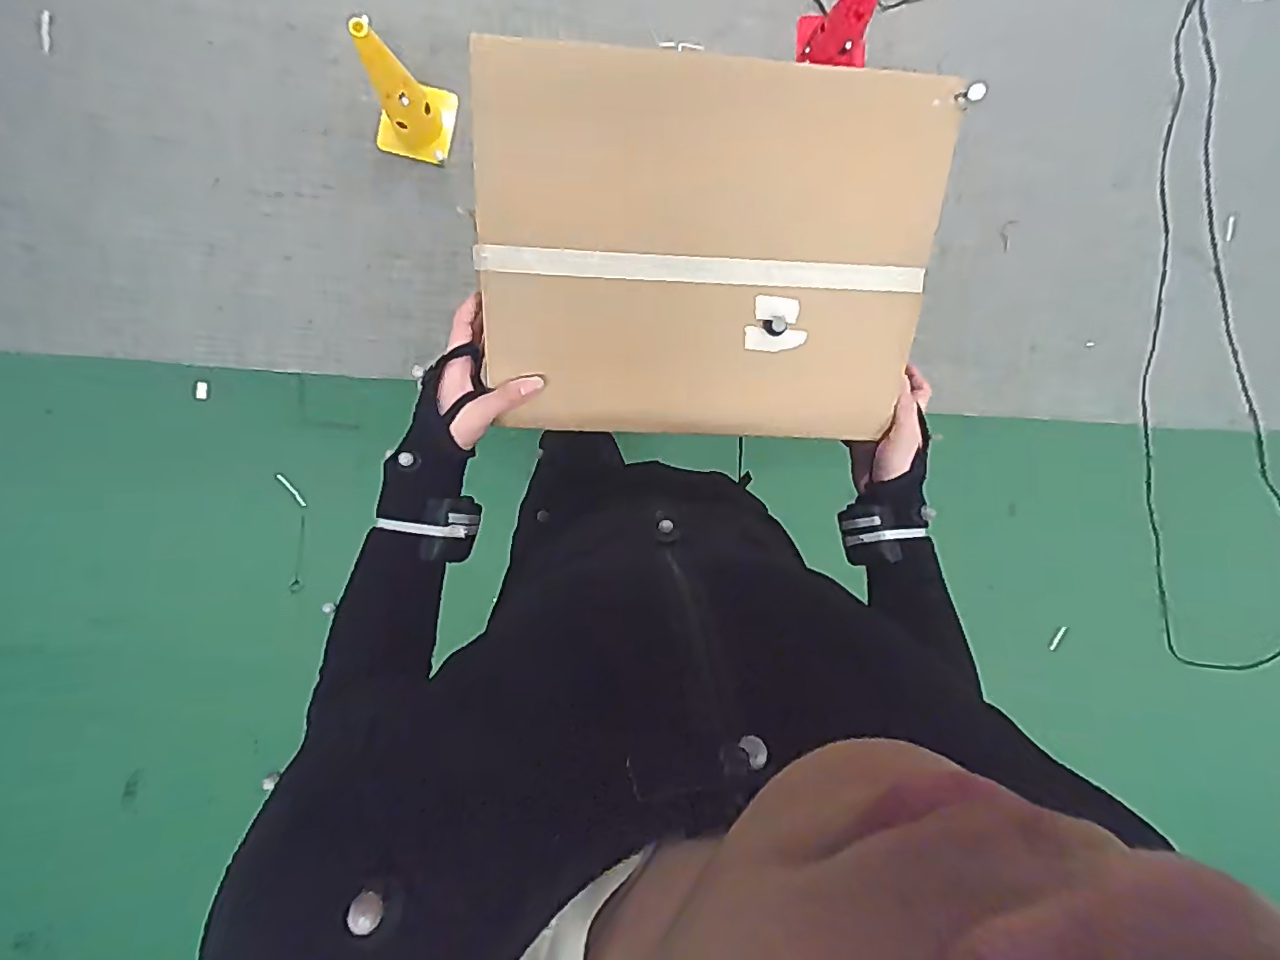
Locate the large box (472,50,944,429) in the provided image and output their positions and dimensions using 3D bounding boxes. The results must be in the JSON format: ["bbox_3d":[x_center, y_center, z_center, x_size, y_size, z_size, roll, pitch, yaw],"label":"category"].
[{"bbox_3d":[0.046,-0.249,0.635,0.408,0.320,0.320,1,112,-5],"label":"large box"}]
